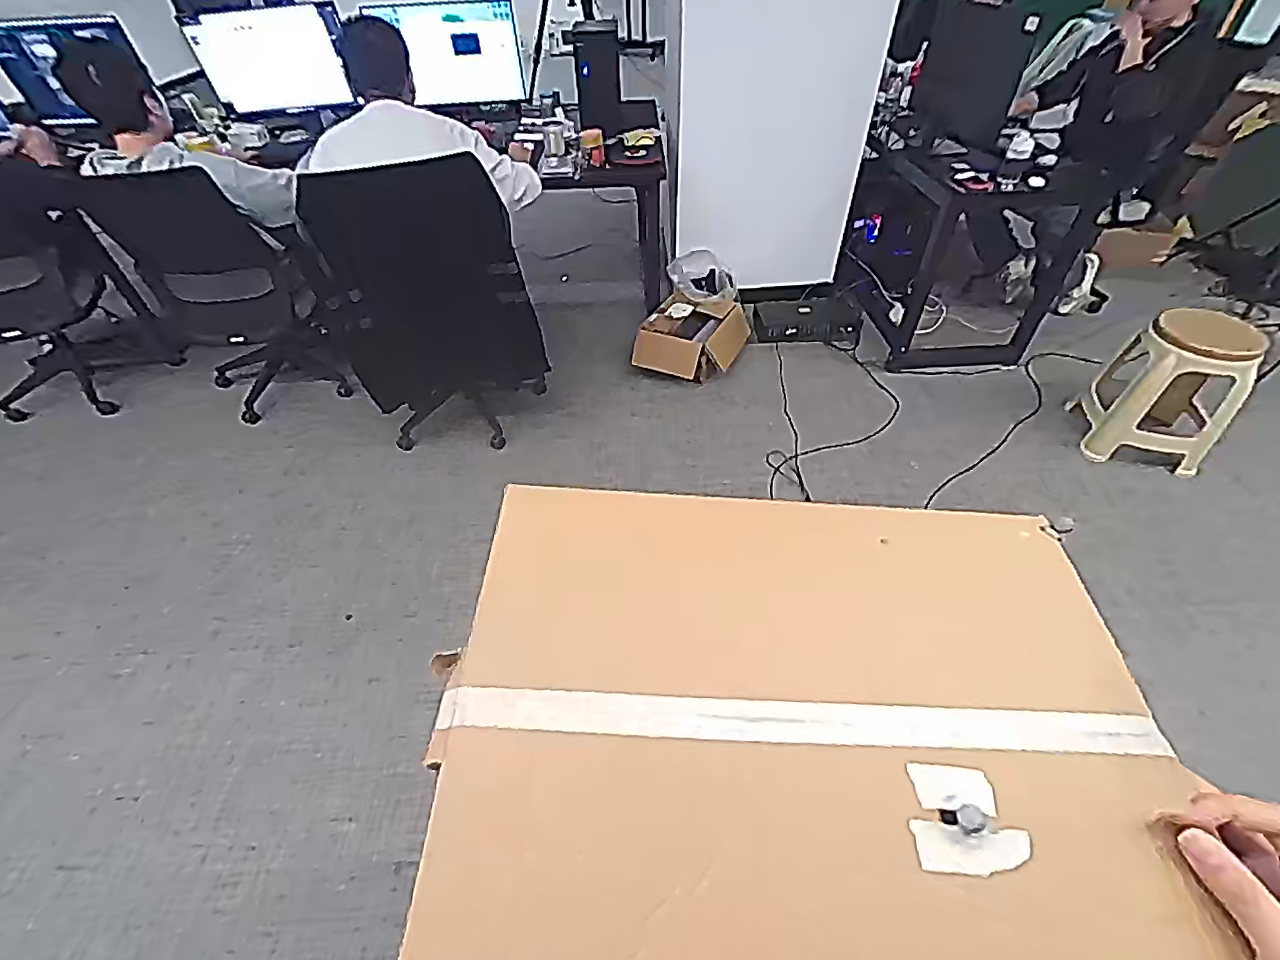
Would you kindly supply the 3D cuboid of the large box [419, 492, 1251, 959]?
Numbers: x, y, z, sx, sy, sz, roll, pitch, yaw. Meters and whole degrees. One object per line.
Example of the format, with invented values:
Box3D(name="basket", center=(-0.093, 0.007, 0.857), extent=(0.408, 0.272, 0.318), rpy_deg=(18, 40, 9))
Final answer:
Box3D(name="large box", center=(0.088, 0.231, 0.434), extent=(0.408, 0.320, 0.320), rpy_deg=(4, 52, -2))
